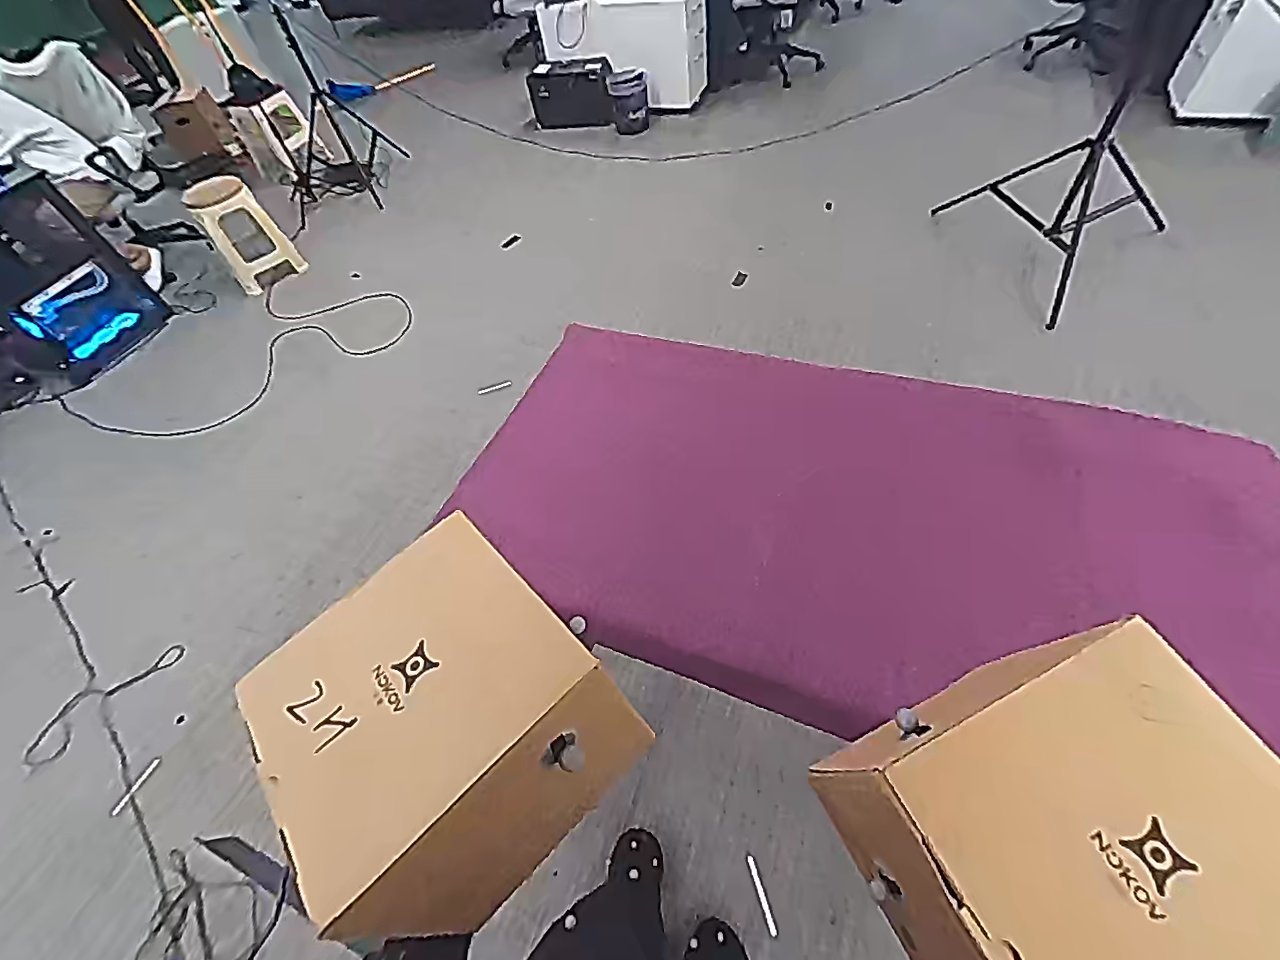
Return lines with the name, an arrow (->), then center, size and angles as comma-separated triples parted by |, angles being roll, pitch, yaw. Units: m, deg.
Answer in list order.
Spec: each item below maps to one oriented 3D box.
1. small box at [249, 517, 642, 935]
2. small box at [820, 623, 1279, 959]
small box -> -0.115, 0.167, 0.382 | 0.179, 0.176, 0.168 | -41, 53, -17
small box -> 0.238, 0.212, 0.322 | 0.179, 0.176, 0.168 | -25, 63, -9
